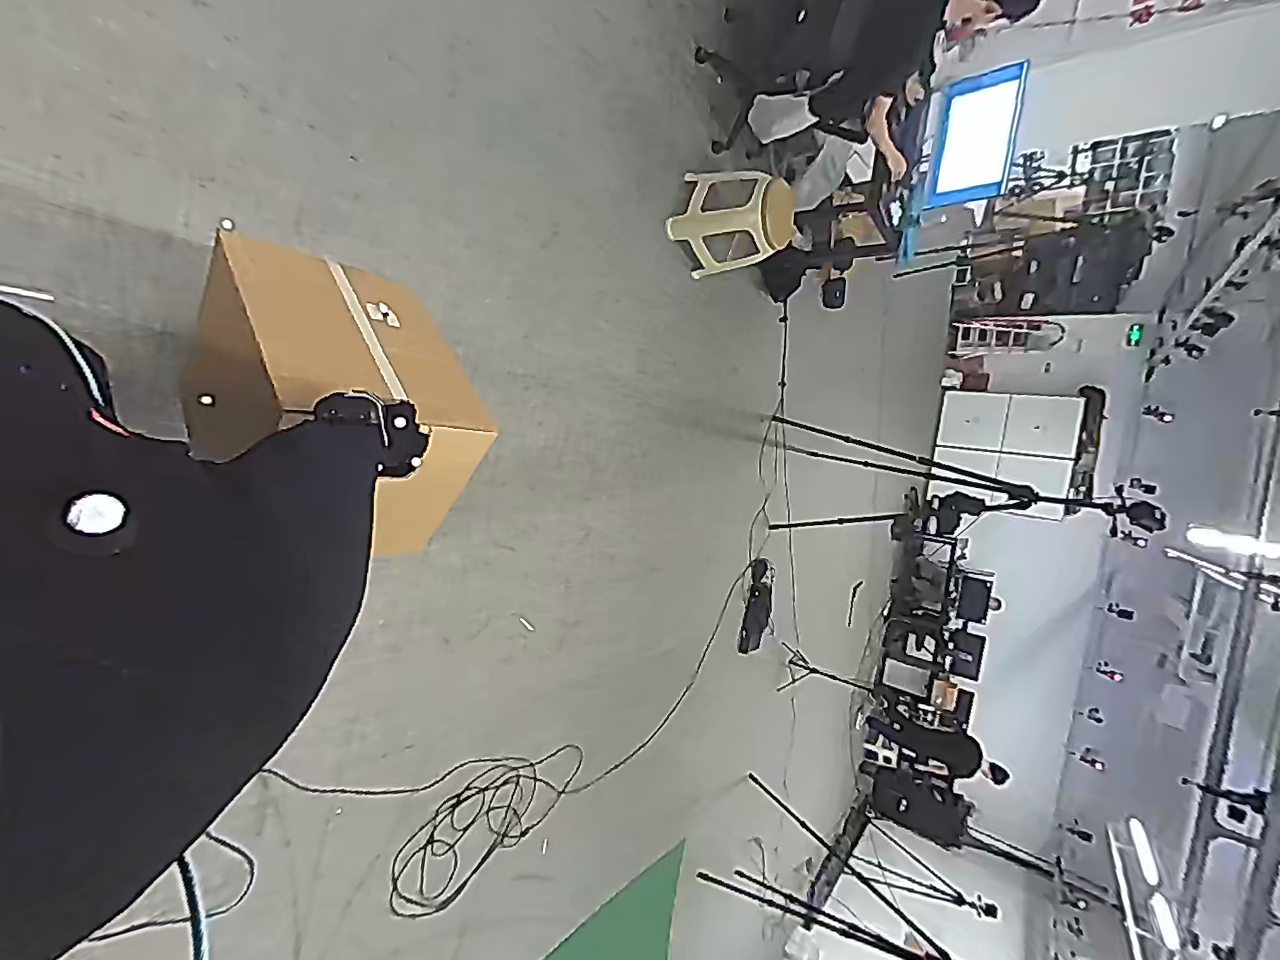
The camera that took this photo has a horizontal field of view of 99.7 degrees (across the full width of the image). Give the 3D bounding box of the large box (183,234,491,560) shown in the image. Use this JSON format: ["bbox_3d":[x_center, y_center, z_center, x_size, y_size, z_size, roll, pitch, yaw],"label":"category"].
[{"bbox_3d":[-0.526,-0.125,0.920,0.320,0.408,0.320,2,136,-52],"label":"large box"}]
